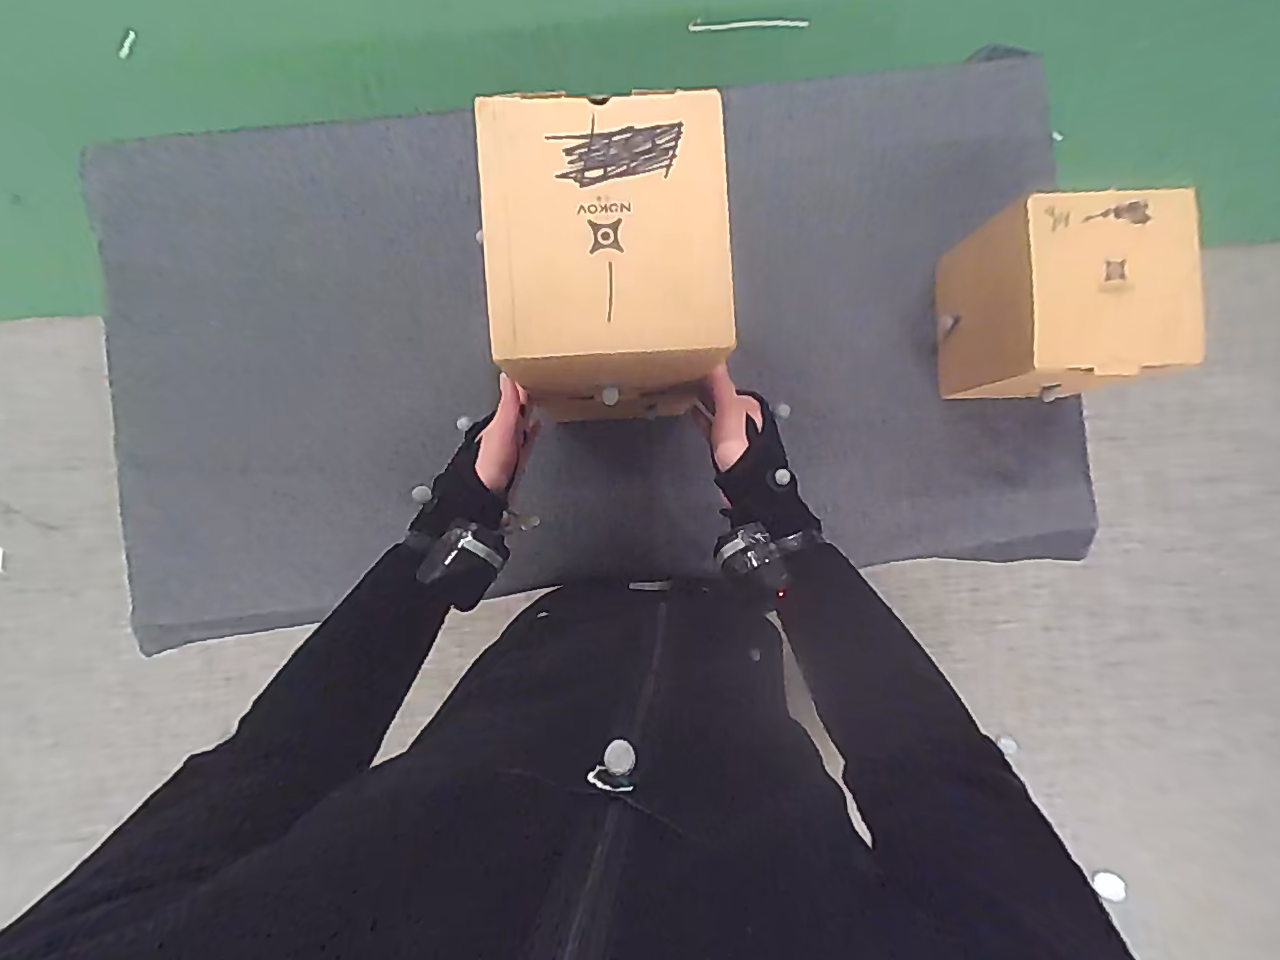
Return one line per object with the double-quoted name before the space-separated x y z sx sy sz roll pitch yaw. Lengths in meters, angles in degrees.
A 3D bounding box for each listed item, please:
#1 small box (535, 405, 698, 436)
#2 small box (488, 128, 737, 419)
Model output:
"small box" -0.030 -0.145 0.614 0.168 0.176 0.179 -5 88 -3
"small box" -0.023 -0.152 0.450 0.168 0.176 0.179 -4 90 -2
